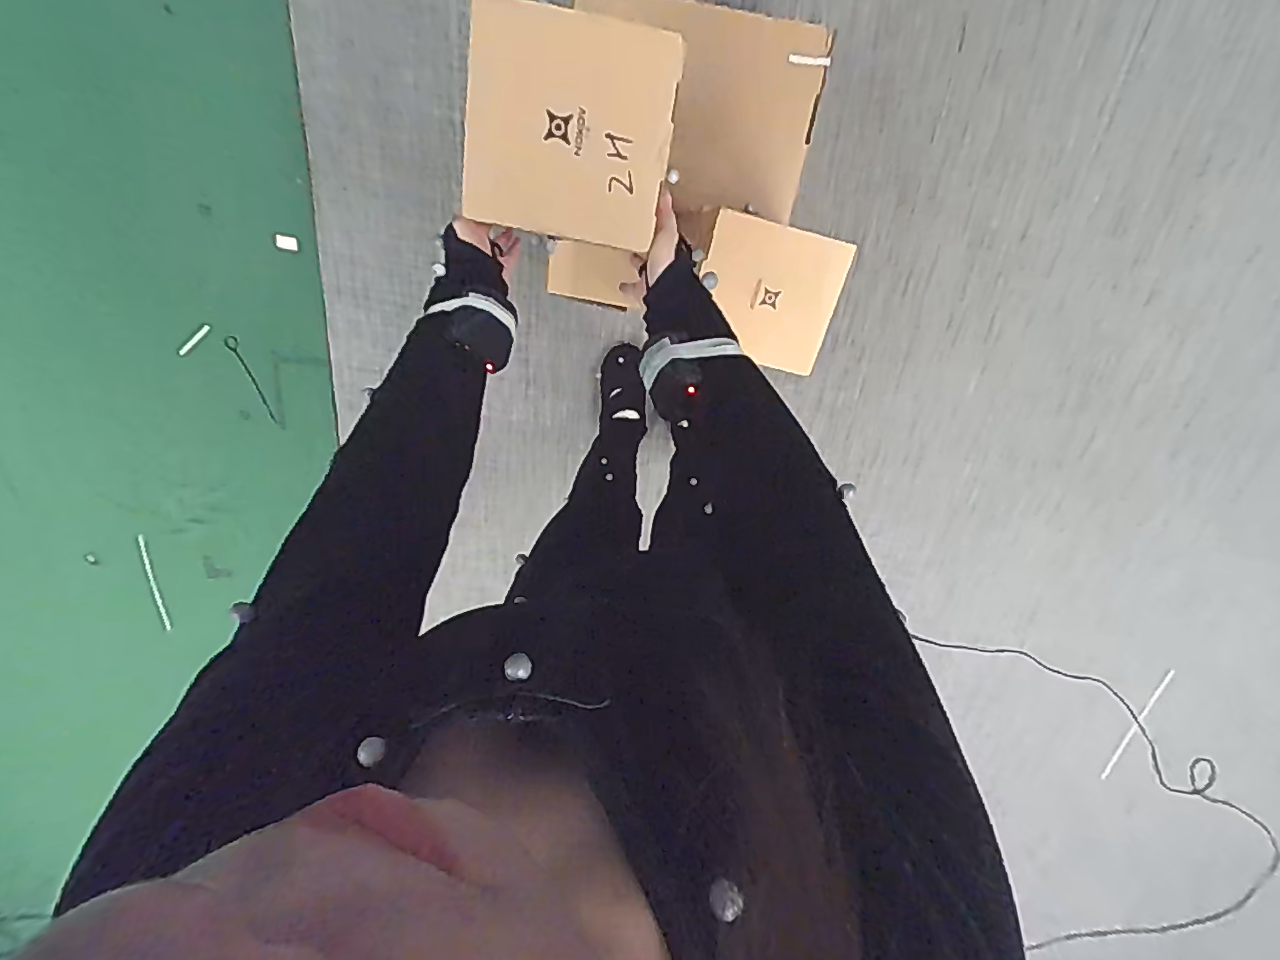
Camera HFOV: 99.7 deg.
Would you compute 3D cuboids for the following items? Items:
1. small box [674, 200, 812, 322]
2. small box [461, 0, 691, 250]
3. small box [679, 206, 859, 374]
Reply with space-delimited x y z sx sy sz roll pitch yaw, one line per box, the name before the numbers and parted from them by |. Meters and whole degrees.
small box | 0.155 -0.336 0.882 0.168 0.176 0.179 13 113 -5
small box | -0.057 -0.326 0.527 0.179 0.176 0.168 10 112 -3
small box | 0.159 -0.261 0.737 0.179 0.176 0.168 13 114 -4
